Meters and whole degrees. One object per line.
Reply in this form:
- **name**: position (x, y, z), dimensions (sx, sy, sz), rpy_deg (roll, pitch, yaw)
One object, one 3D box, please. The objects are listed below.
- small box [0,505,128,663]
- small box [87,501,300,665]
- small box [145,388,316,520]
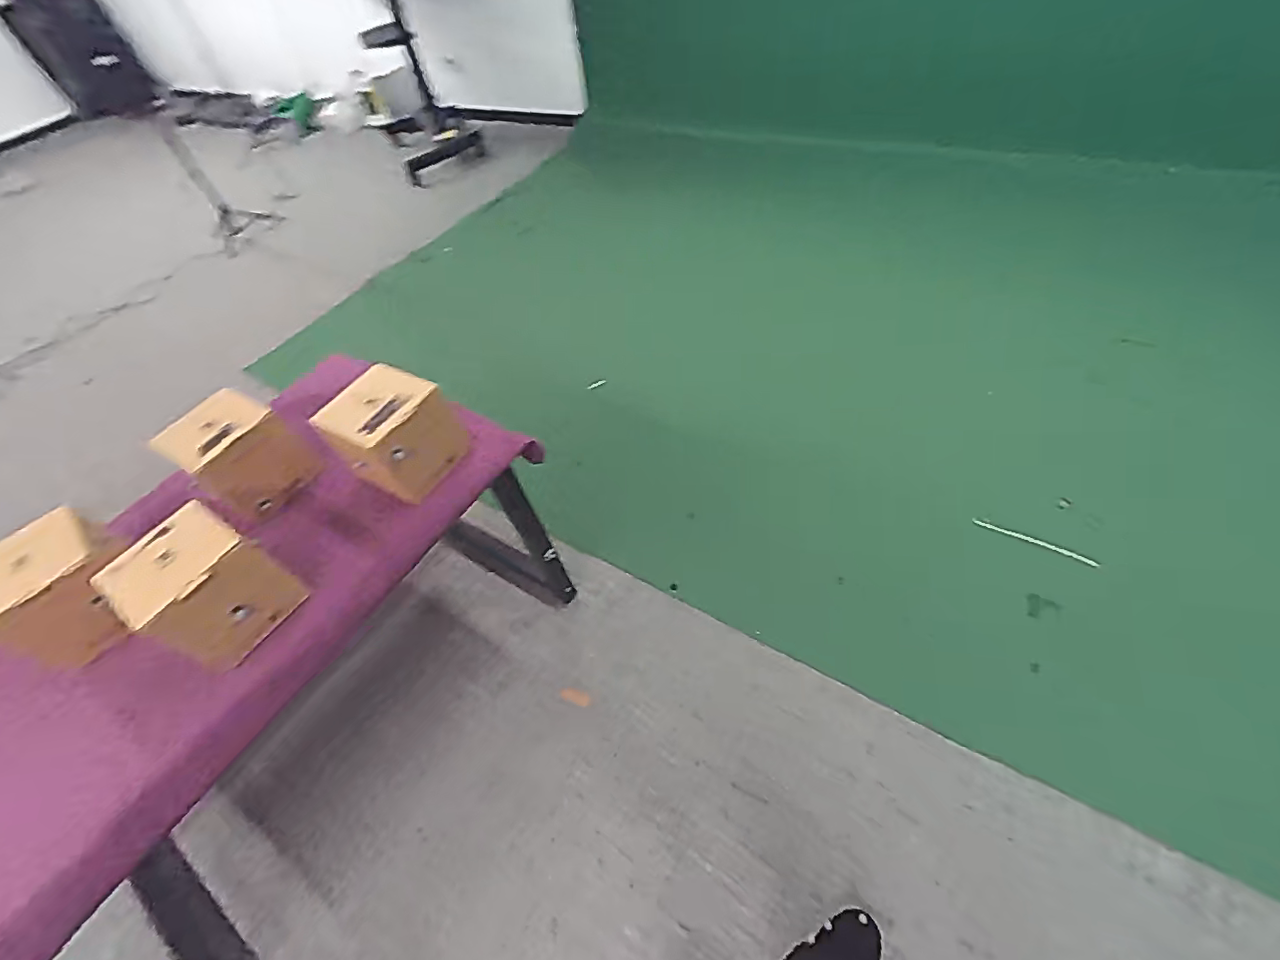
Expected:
- **small box**: position (-0.965, 0.180, 0.907), dimensions (0.179, 0.176, 0.168), rpy_deg (33, 63, 30)
- **small box**: position (-0.696, 0.170, 0.863), dimensions (0.179, 0.176, 0.168), rpy_deg (23, 59, 27)
- **small box**: position (-0.785, -0.046, 1.054), dimensions (0.179, 0.176, 0.168), rpy_deg (21, 58, 26)
